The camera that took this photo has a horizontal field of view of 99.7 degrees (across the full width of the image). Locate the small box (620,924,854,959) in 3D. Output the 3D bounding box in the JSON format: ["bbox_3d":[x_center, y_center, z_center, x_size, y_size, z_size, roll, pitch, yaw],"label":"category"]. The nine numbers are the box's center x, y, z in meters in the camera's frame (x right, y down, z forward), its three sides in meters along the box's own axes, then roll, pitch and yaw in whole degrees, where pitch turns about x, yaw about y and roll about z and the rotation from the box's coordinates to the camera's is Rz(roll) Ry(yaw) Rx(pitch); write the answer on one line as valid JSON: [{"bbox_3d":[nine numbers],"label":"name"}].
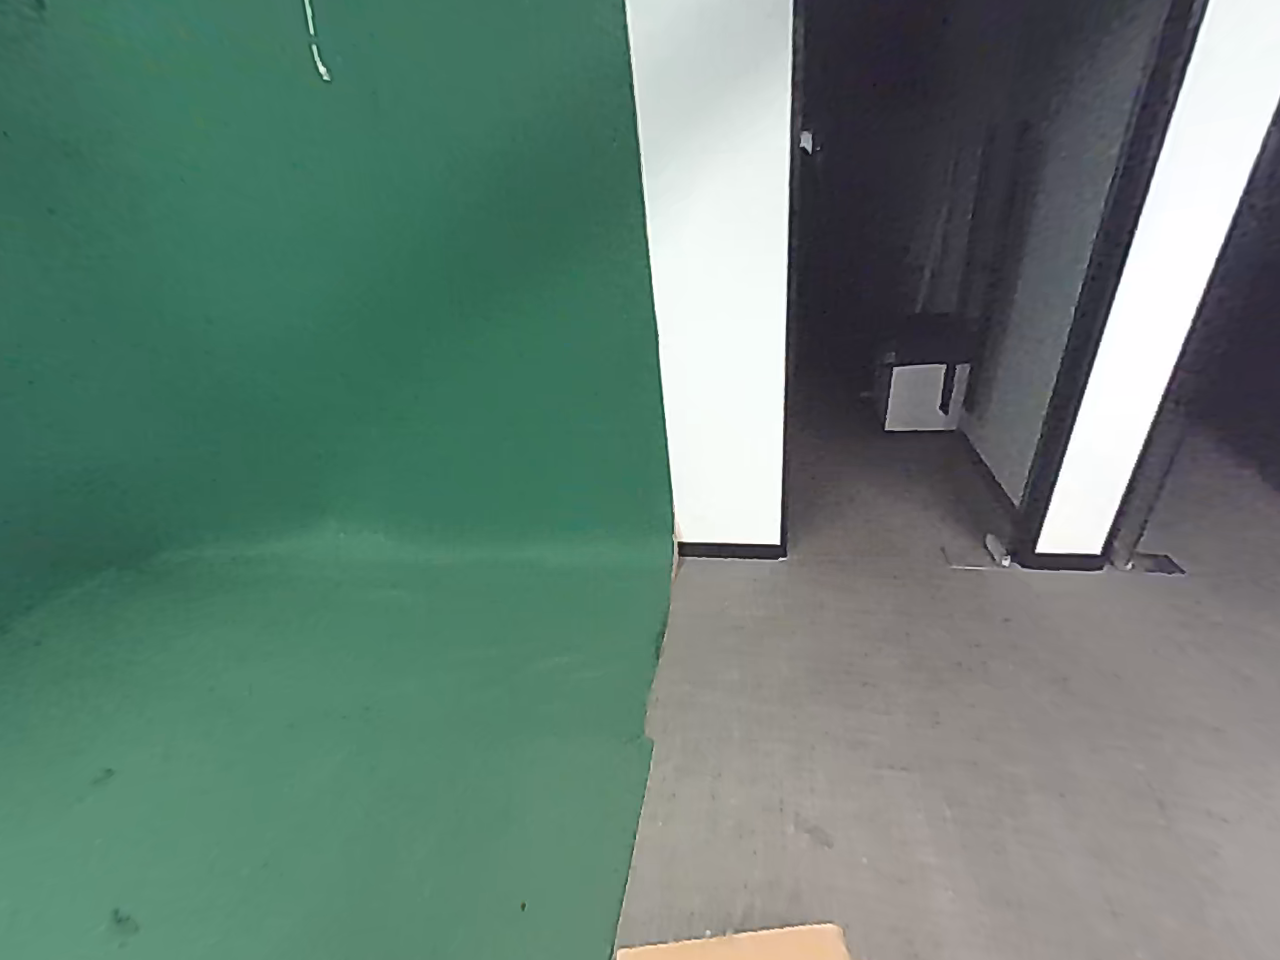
[{"bbox_3d":[0.082,0.461,0.401,0.179,0.176,0.168,-7,37,1],"label":"small box"}]
